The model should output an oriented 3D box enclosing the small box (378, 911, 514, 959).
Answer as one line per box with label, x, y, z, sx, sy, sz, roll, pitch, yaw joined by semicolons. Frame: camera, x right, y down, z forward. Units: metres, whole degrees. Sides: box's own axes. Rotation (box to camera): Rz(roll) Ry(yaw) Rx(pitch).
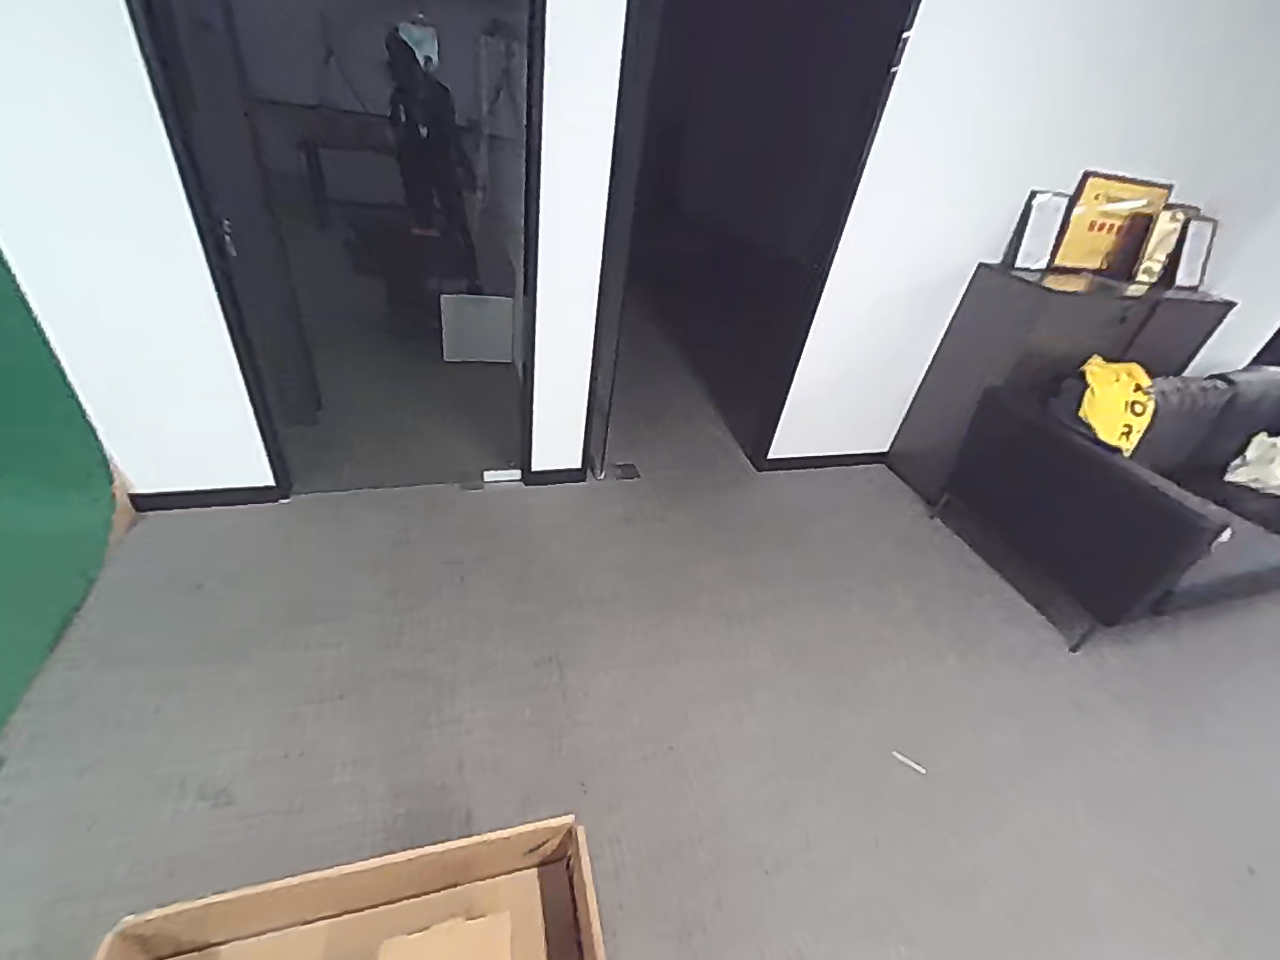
small box;-0.242;0.697;0.684;0.168;0.176;0.179;-3;36;-15
